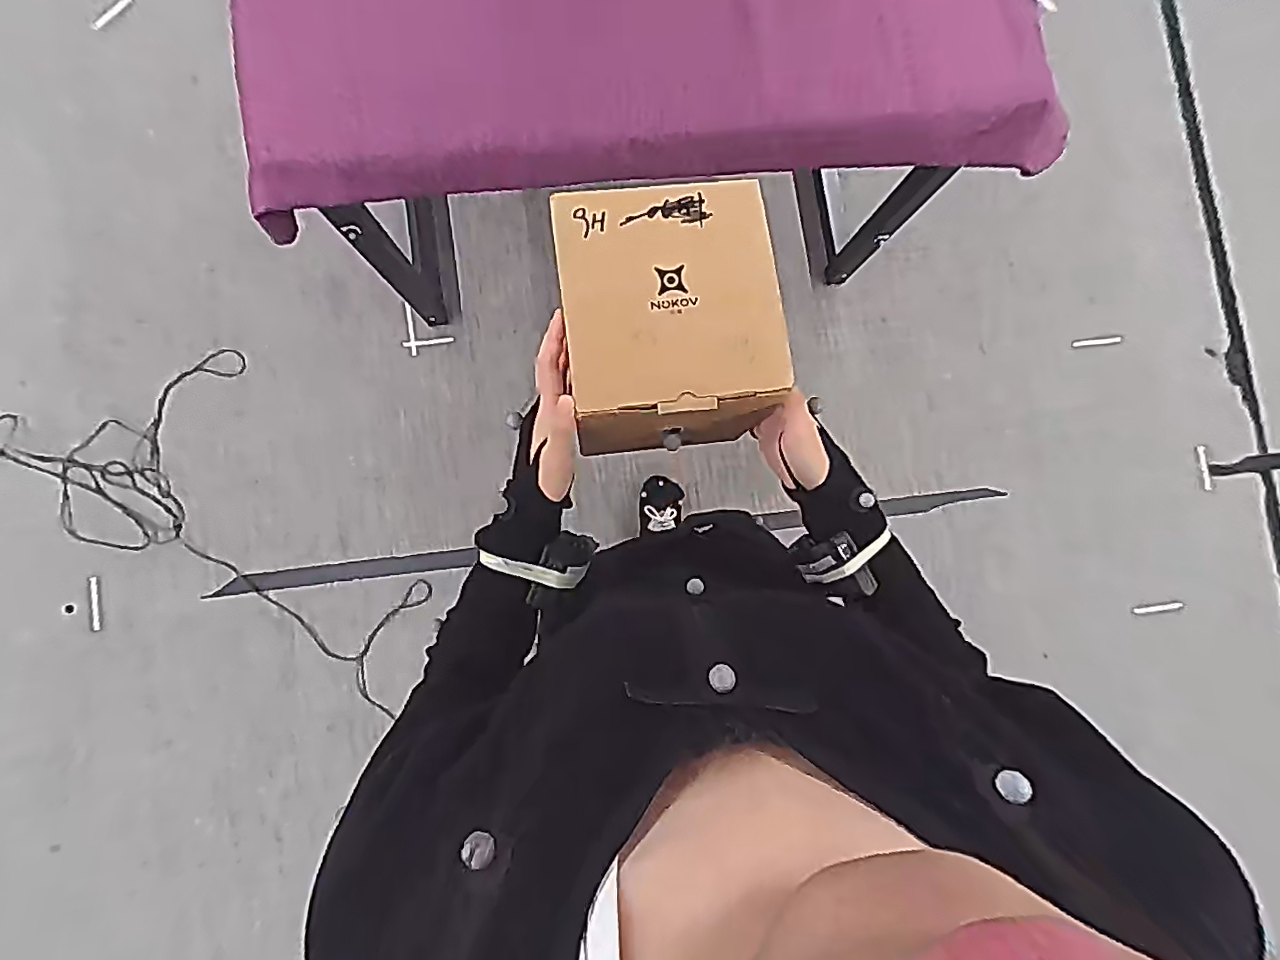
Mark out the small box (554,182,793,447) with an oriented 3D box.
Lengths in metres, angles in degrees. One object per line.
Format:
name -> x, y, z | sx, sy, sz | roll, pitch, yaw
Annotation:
small box -> 0.020, -0.130, 0.487 | 0.168, 0.176, 0.179 | -7, 84, -5
